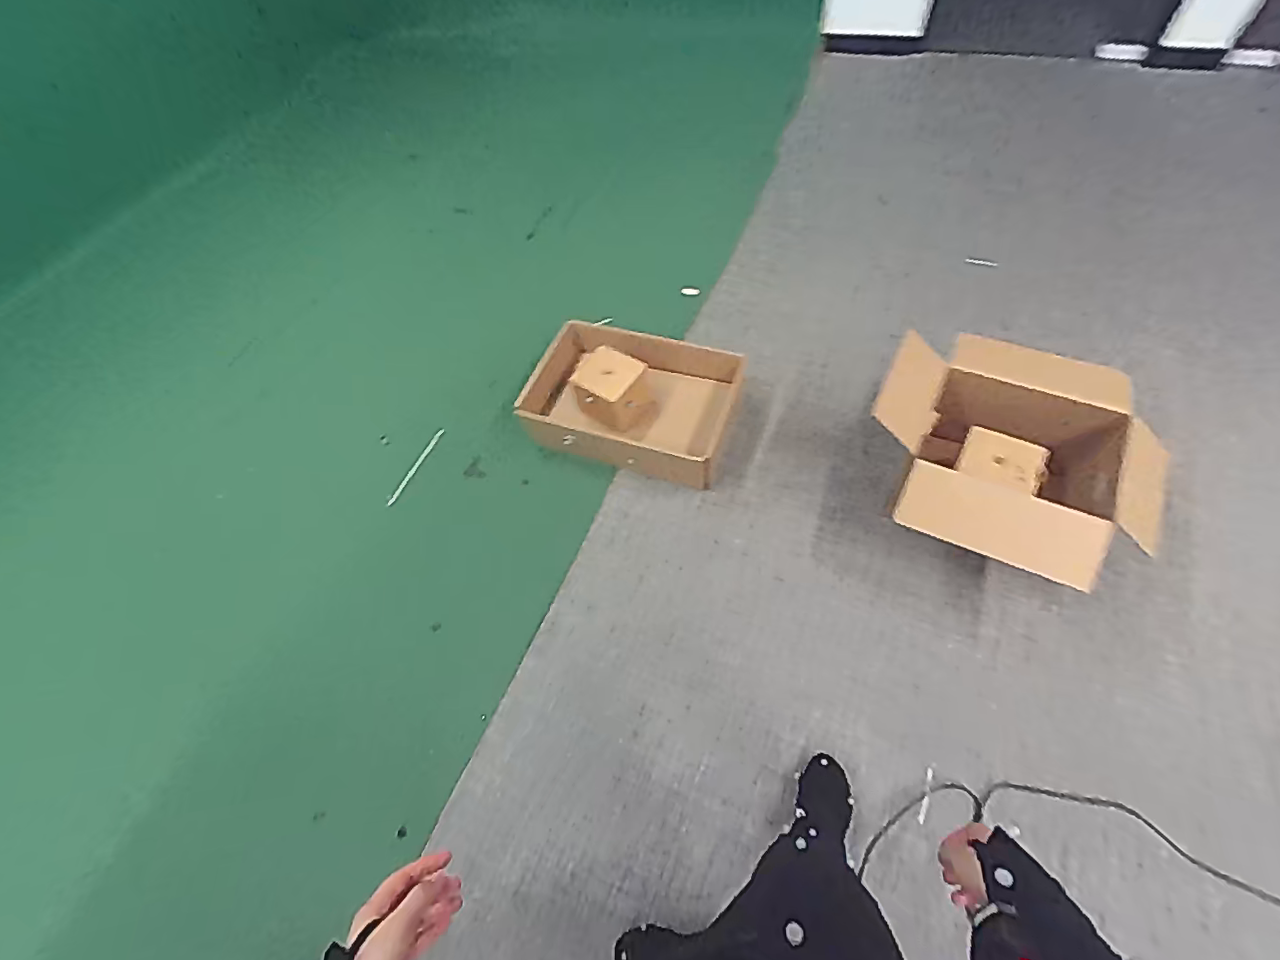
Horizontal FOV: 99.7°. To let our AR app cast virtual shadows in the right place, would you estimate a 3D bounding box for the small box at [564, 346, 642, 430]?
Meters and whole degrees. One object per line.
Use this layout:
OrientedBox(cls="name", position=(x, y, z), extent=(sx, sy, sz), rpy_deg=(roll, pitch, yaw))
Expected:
OrientedBox(cls="small box", position=(-0.108, -0.284, 1.704), extent=(0.179, 0.176, 0.168), rpy_deg=(28, 67, 21))
